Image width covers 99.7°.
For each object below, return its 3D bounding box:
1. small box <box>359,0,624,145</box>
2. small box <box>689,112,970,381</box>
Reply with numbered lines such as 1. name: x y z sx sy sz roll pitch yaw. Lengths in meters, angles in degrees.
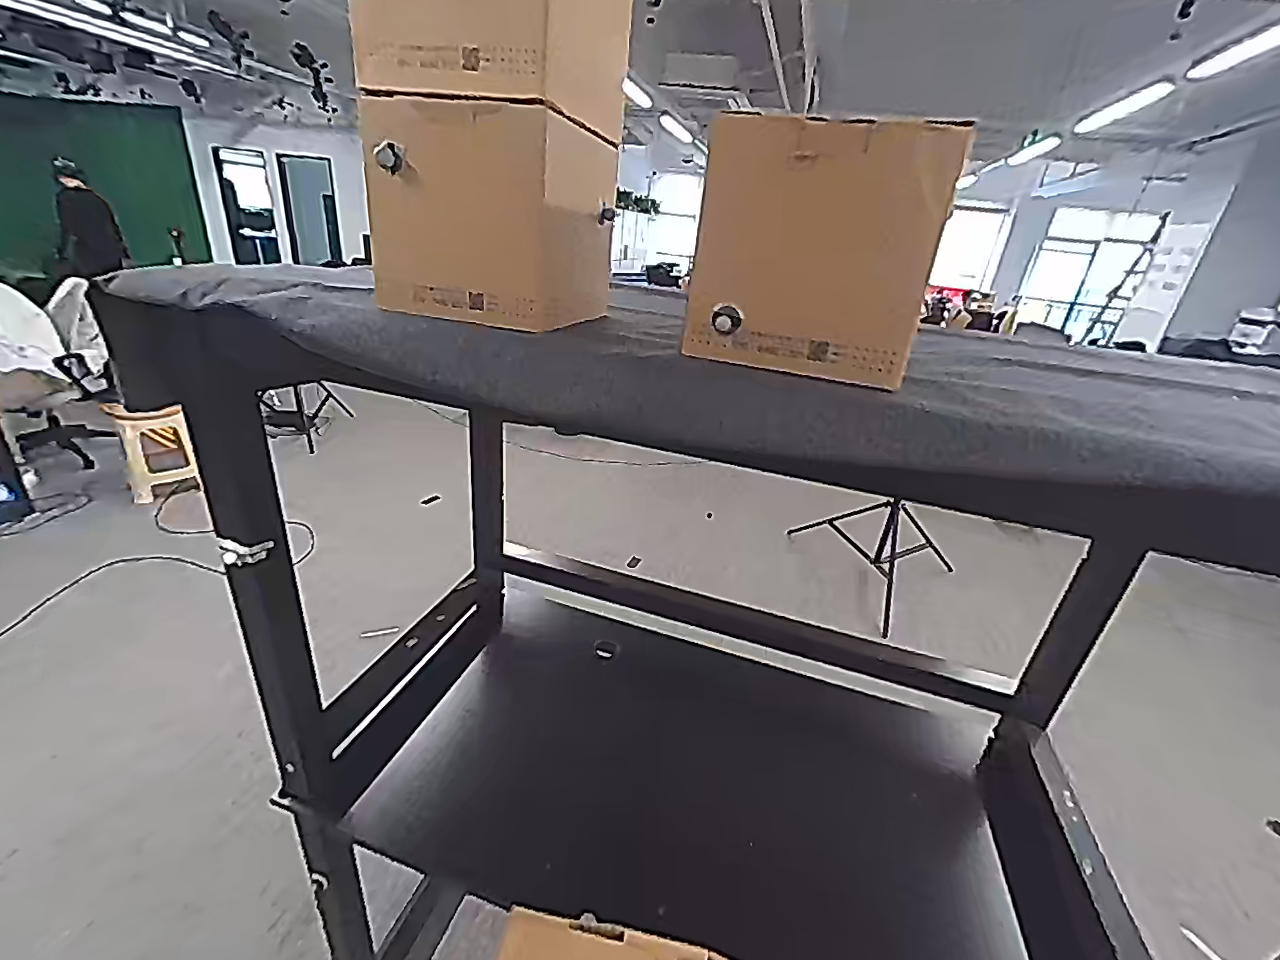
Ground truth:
1. small box: -0.113 -0.393 0.453 0.168 0.176 0.179 12 23 13
2. small box: 0.144 -0.187 0.454 0.168 0.176 0.179 13 23 14
